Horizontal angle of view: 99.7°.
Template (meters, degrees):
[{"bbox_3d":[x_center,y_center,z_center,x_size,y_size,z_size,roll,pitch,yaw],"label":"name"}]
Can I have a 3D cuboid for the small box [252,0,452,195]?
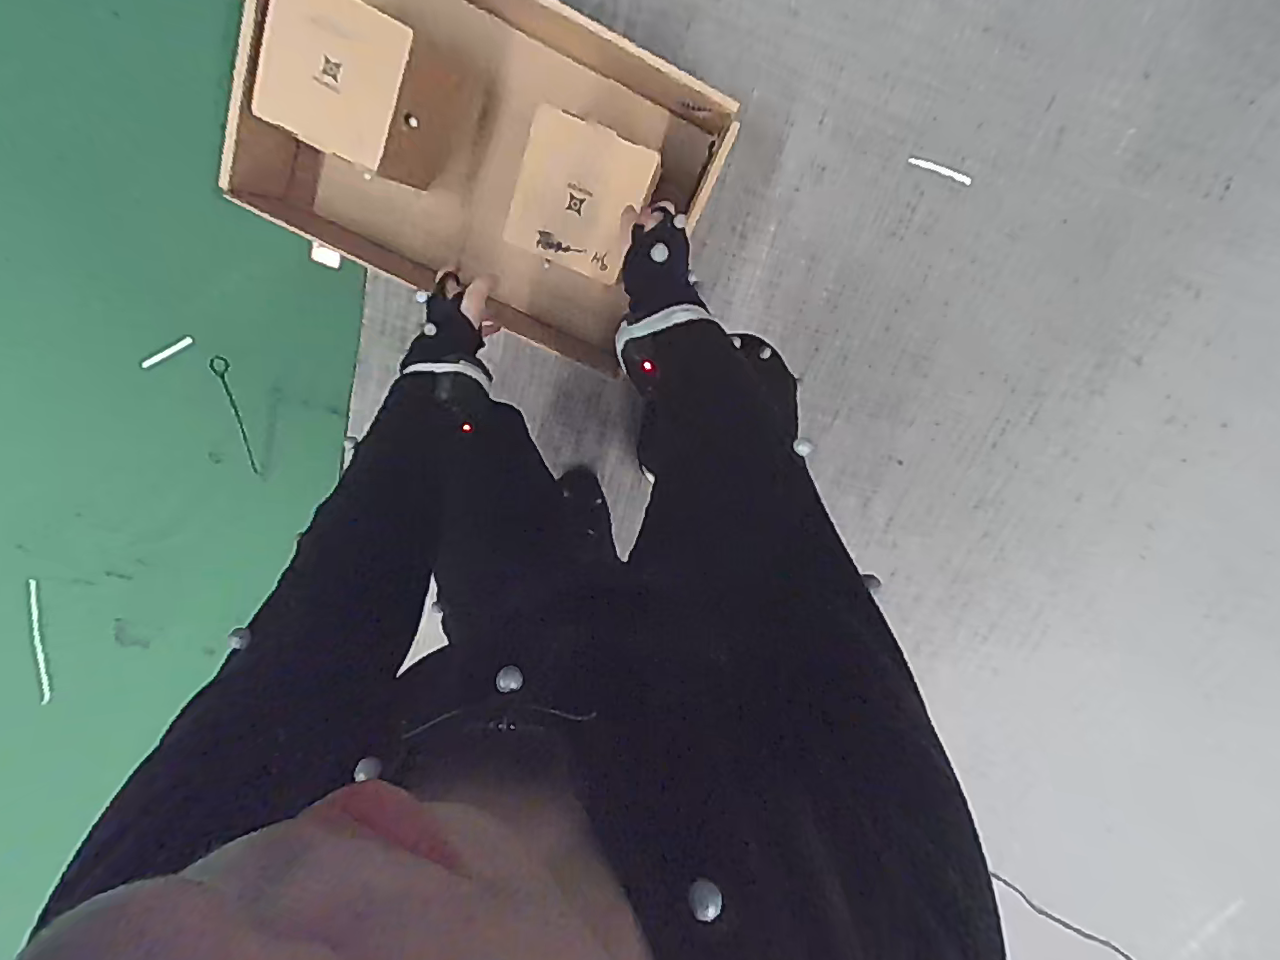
[{"bbox_3d":[-0.380,-0.519,0.742,0.168,0.176,0.179,25,110,-10],"label":"small box"}]
